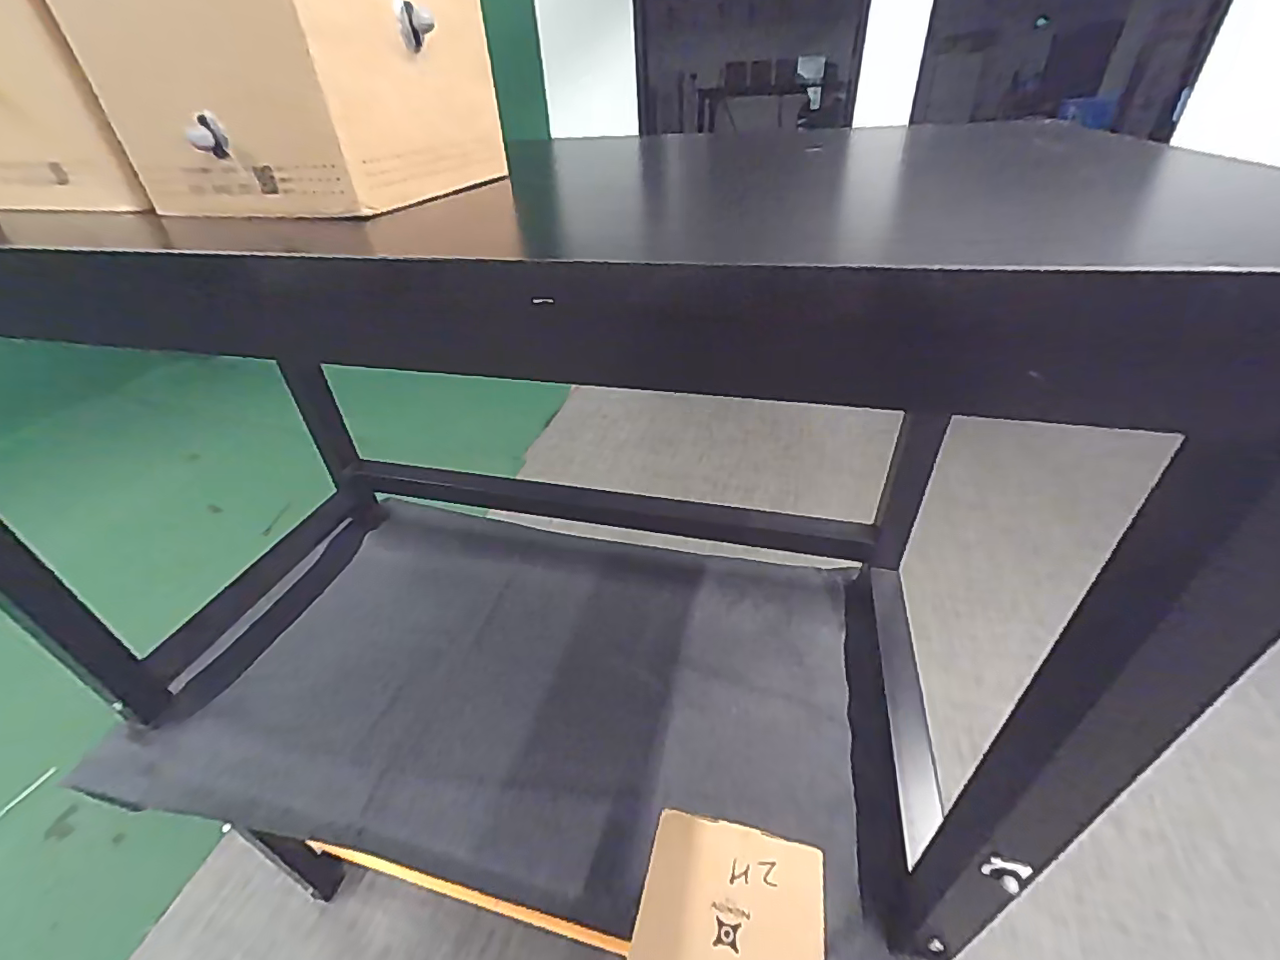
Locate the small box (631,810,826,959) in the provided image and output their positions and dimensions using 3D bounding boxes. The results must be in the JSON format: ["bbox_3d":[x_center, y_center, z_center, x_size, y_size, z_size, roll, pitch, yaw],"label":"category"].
[{"bbox_3d":[0.086,0.472,0.527,0.168,0.176,0.179,6,30,14],"label":"small box"}]

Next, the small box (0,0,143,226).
[{"bbox_3d":[-0.585,-0.321,0.457,0.168,0.176,0.179,8,38,15],"label":"small box"}]
